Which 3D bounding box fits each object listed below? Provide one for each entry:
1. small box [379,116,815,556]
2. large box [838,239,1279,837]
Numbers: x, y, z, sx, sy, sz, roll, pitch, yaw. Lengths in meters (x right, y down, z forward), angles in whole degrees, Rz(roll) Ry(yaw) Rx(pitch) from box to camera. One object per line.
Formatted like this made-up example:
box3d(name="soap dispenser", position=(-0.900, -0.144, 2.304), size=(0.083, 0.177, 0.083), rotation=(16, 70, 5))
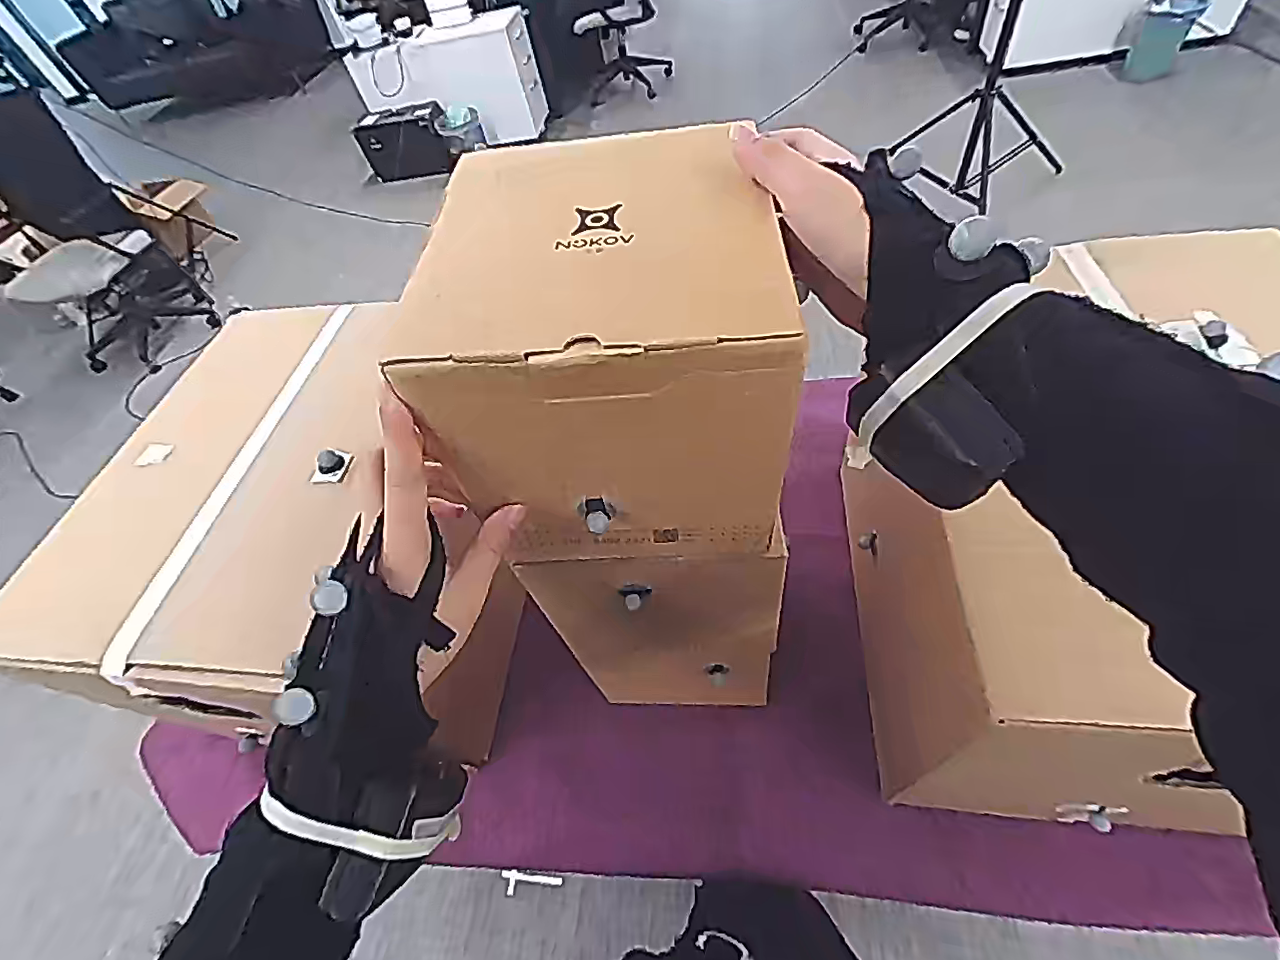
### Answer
box3d(name="small box", position=(-0.009, -0.073, 0.309), size=(0.168, 0.176, 0.179), rotation=(-3, 54, 5))
box3d(name="large box", position=(0.371, 0.052, 0.473), size=(0.320, 0.320, 0.408), rotation=(-1, 52, 11))
